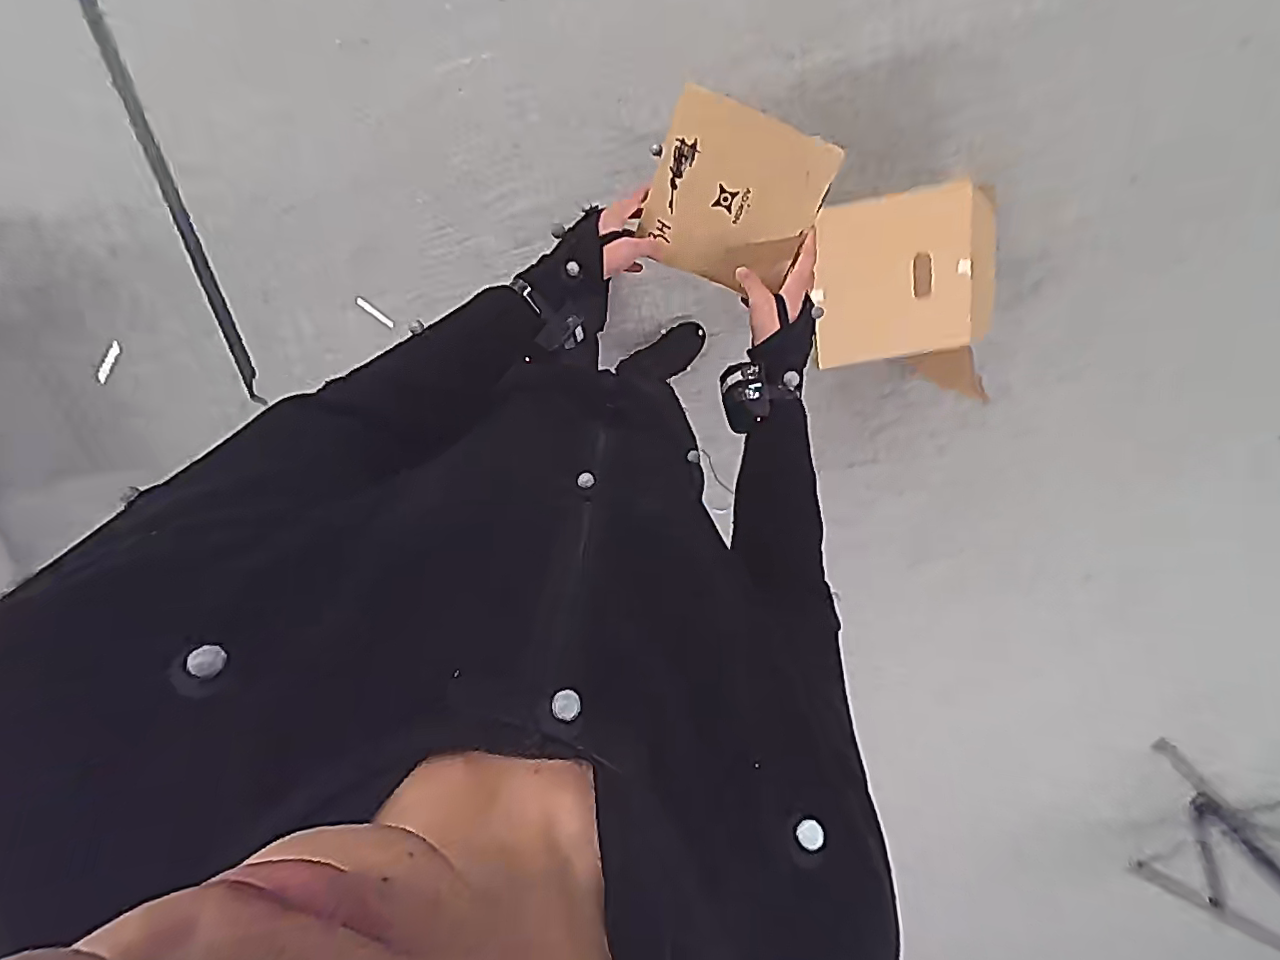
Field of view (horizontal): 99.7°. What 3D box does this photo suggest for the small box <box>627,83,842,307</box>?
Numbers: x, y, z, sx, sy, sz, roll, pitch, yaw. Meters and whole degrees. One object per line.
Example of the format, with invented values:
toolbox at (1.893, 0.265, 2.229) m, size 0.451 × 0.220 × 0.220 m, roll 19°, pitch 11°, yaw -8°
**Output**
small box at (0.101, -0.329, 0.633) m, size 0.179 × 0.176 × 0.168 m, roll 20°, pitch 120°, yaw -6°
